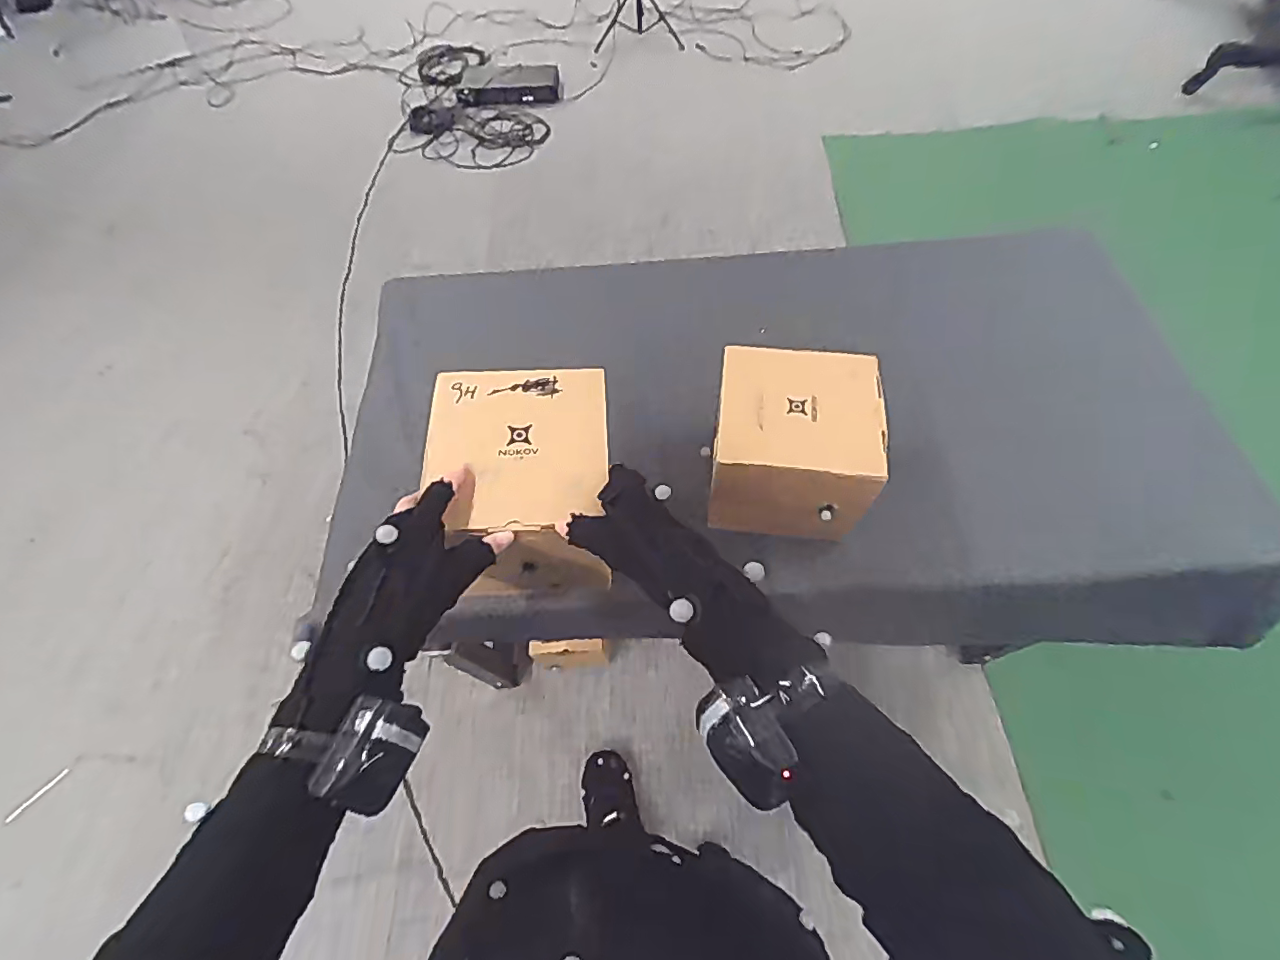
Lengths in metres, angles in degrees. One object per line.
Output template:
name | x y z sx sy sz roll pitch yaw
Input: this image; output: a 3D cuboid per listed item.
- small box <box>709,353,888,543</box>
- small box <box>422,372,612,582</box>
small box | 0.183 -0.032 0.665 0.179 0.176 0.168 5 61 7
small box | -0.113 0.006 0.574 0.168 0.176 0.179 -1 62 -4
